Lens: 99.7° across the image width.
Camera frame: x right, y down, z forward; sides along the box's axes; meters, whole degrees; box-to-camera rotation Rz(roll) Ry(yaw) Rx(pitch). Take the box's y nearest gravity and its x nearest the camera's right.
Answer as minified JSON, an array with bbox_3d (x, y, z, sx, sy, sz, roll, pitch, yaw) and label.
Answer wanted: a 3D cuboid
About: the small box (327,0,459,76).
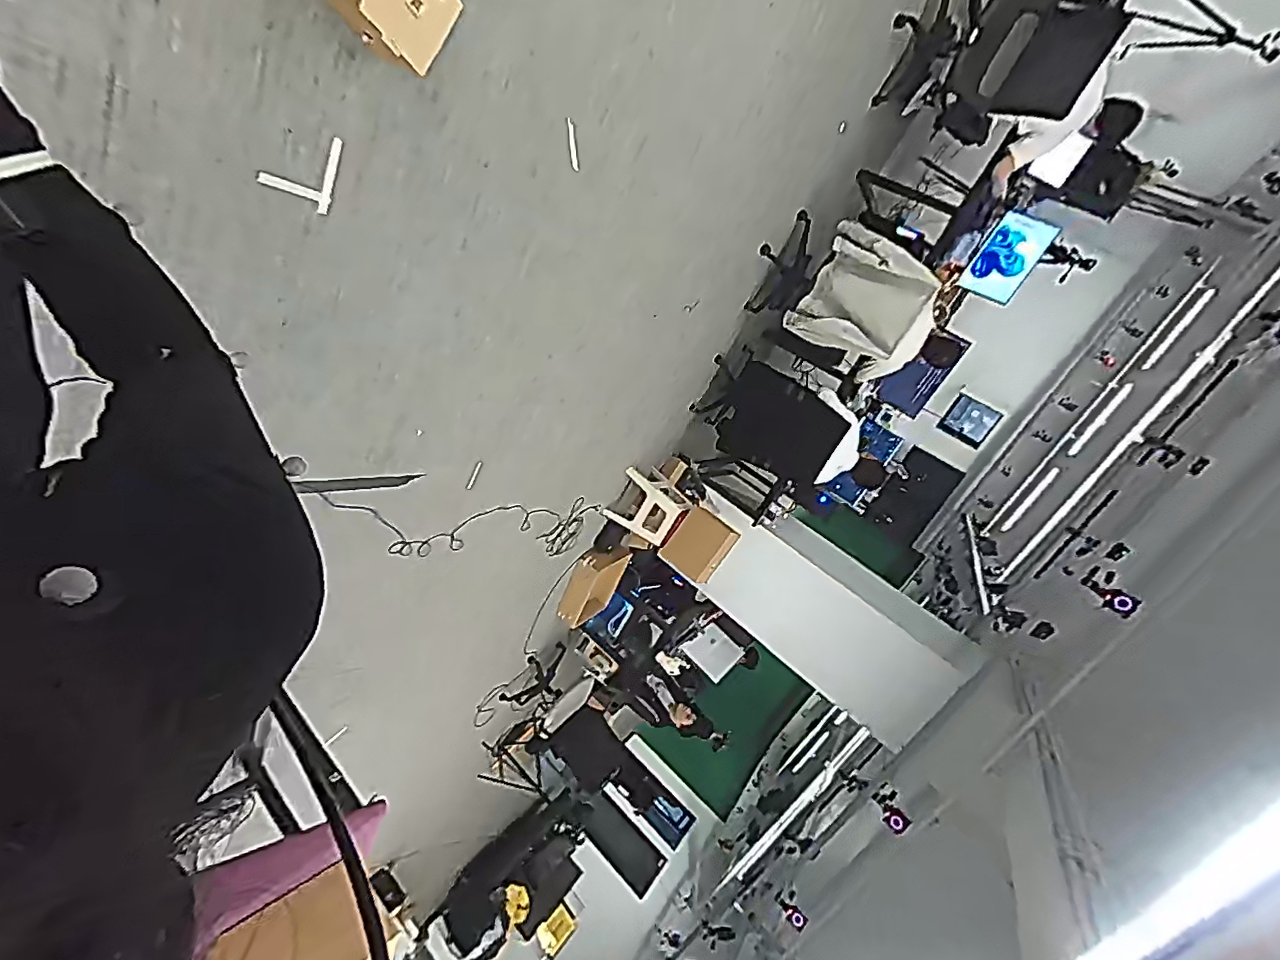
[{"bbox_3d":[-0.516,-0.989,1.101,0.179,0.176,0.168,-54,159,6],"label":"small box"}]
